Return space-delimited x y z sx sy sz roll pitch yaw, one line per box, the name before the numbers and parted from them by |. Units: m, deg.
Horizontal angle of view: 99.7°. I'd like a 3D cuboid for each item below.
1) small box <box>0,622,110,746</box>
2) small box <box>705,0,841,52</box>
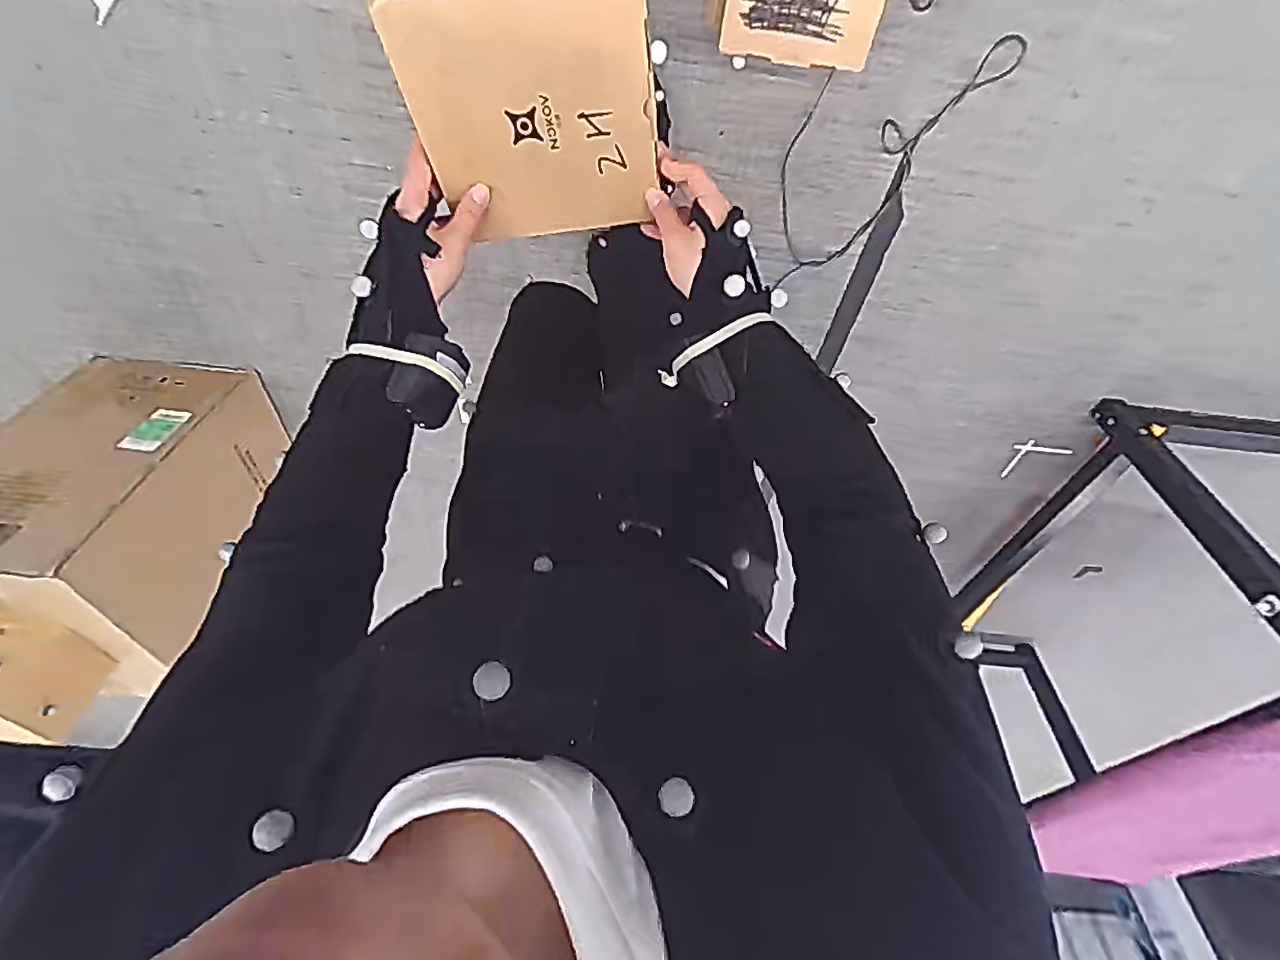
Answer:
small box | -1.190 0.385 1.025 0.168 0.176 0.179 5 136 -2
small box | 0.180 -0.697 0.710 0.168 0.176 0.179 6 137 -2
